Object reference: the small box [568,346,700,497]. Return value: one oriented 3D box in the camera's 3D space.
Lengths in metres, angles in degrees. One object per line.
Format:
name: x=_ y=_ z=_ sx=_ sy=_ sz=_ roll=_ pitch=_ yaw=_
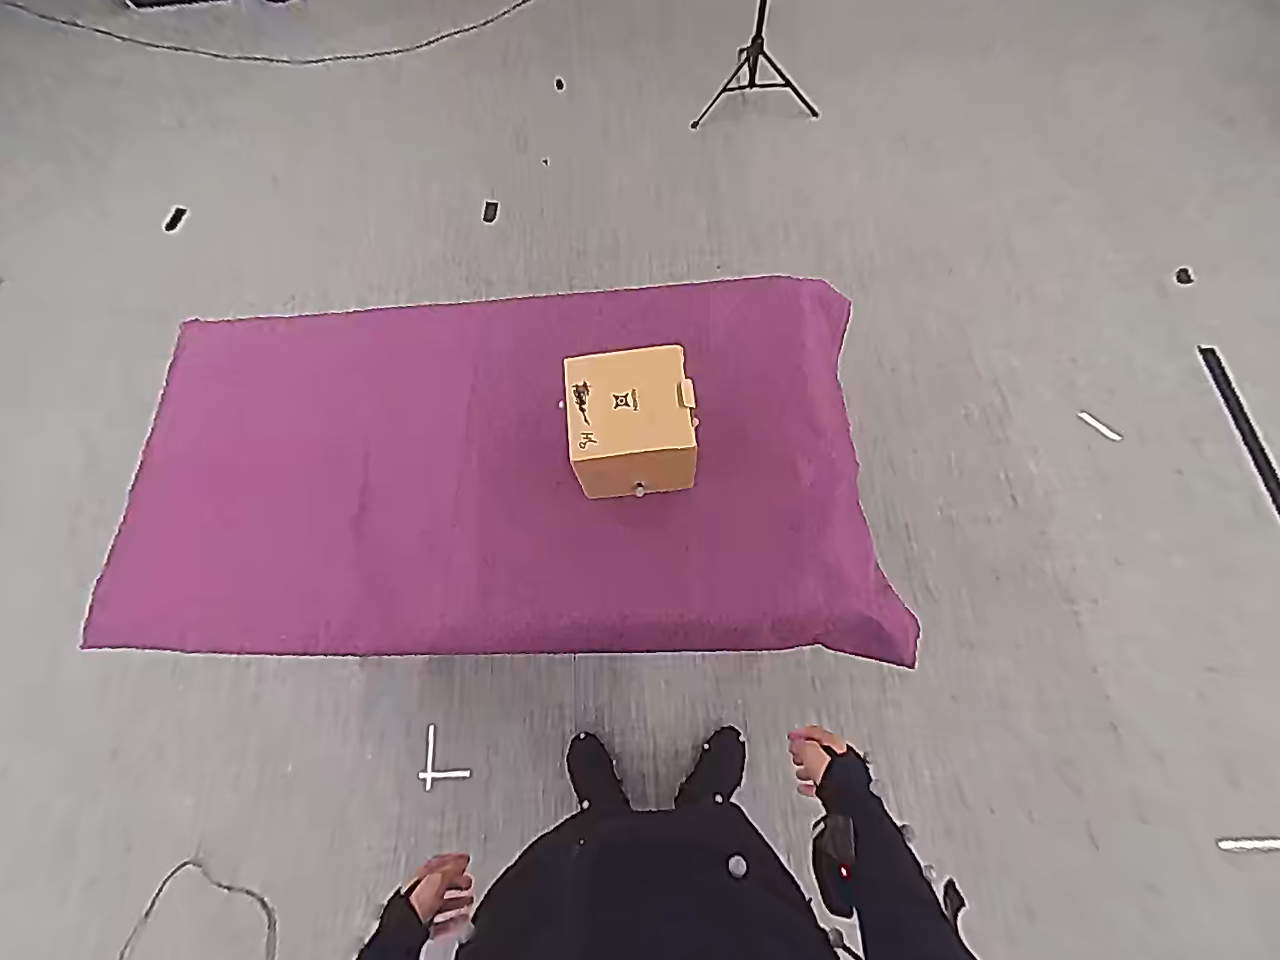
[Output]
small box: x=-0.009 y=-0.082 z=0.827 sx=0.179 sy=0.176 sz=0.168 roll=-6 pitch=68 yaw=1
